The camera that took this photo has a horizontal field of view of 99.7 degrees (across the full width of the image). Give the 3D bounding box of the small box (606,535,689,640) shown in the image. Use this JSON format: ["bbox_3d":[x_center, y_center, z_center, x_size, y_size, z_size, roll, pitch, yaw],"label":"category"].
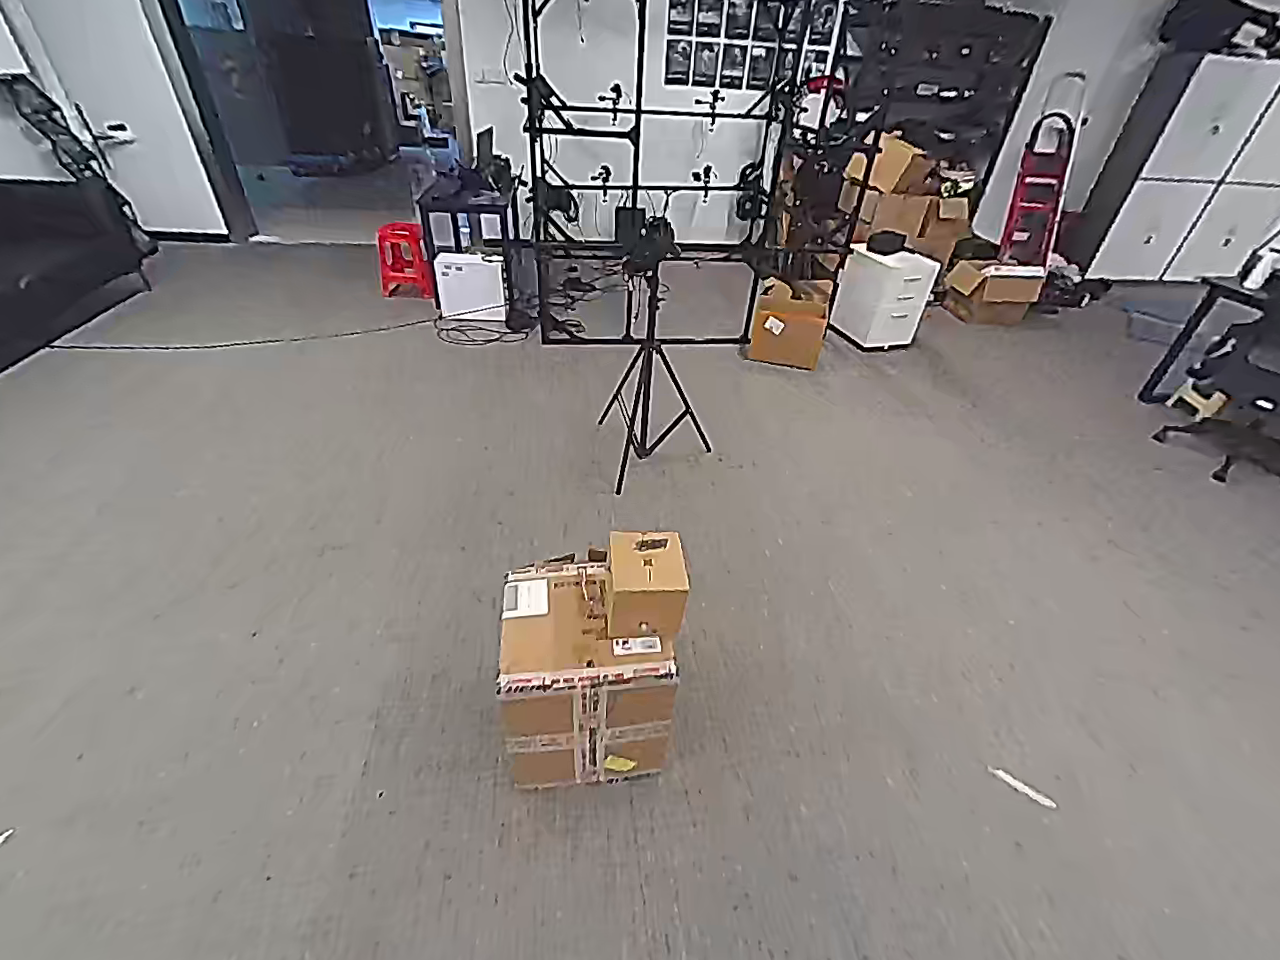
[{"bbox_3d":[0.009,0.247,1.251,0.168,0.176,0.179,1,40,-8],"label":"small box"}]
